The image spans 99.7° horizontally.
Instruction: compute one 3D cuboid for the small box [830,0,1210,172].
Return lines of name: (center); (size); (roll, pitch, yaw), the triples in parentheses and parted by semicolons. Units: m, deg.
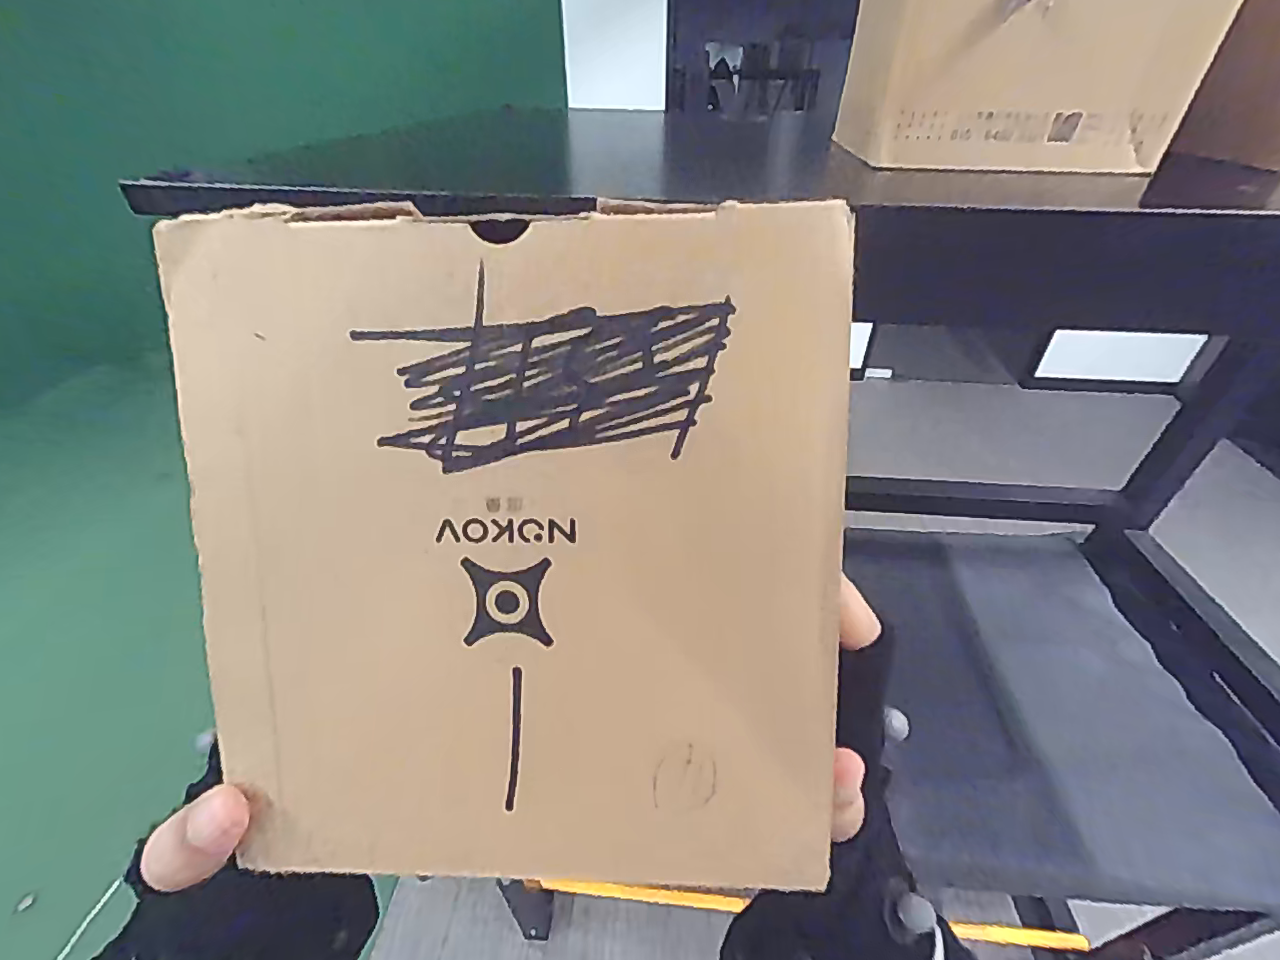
small box: (0.231, -0.306, 0.350); (0.168, 0.176, 0.179); (5, 37, 7)
